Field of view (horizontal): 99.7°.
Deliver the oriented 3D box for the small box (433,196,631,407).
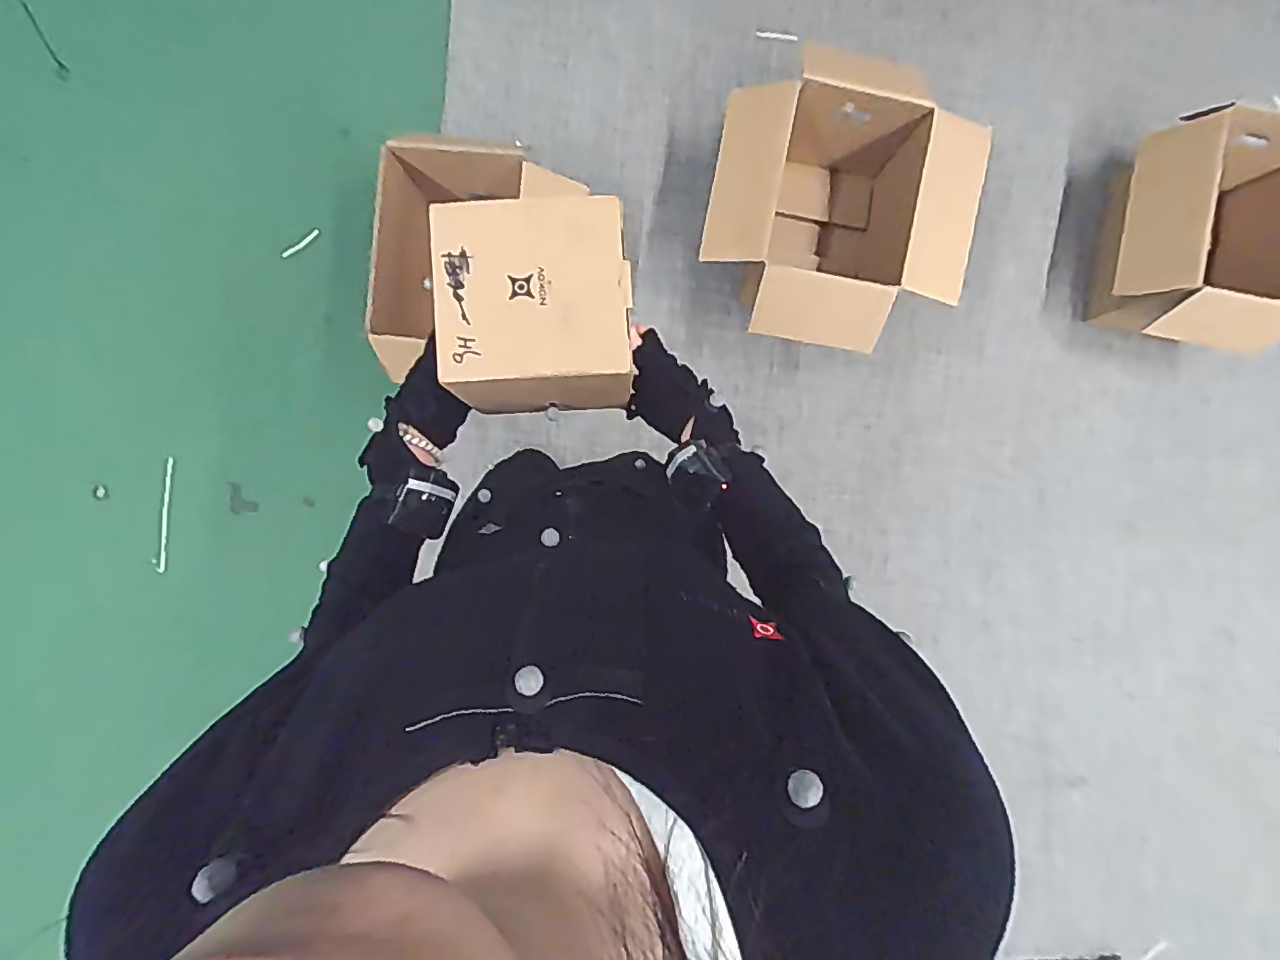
[{"bbox_3d":[-0.105,-0.174,0.572,0.179,0.176,0.168,-2,87,-4],"label":"small box"}]
